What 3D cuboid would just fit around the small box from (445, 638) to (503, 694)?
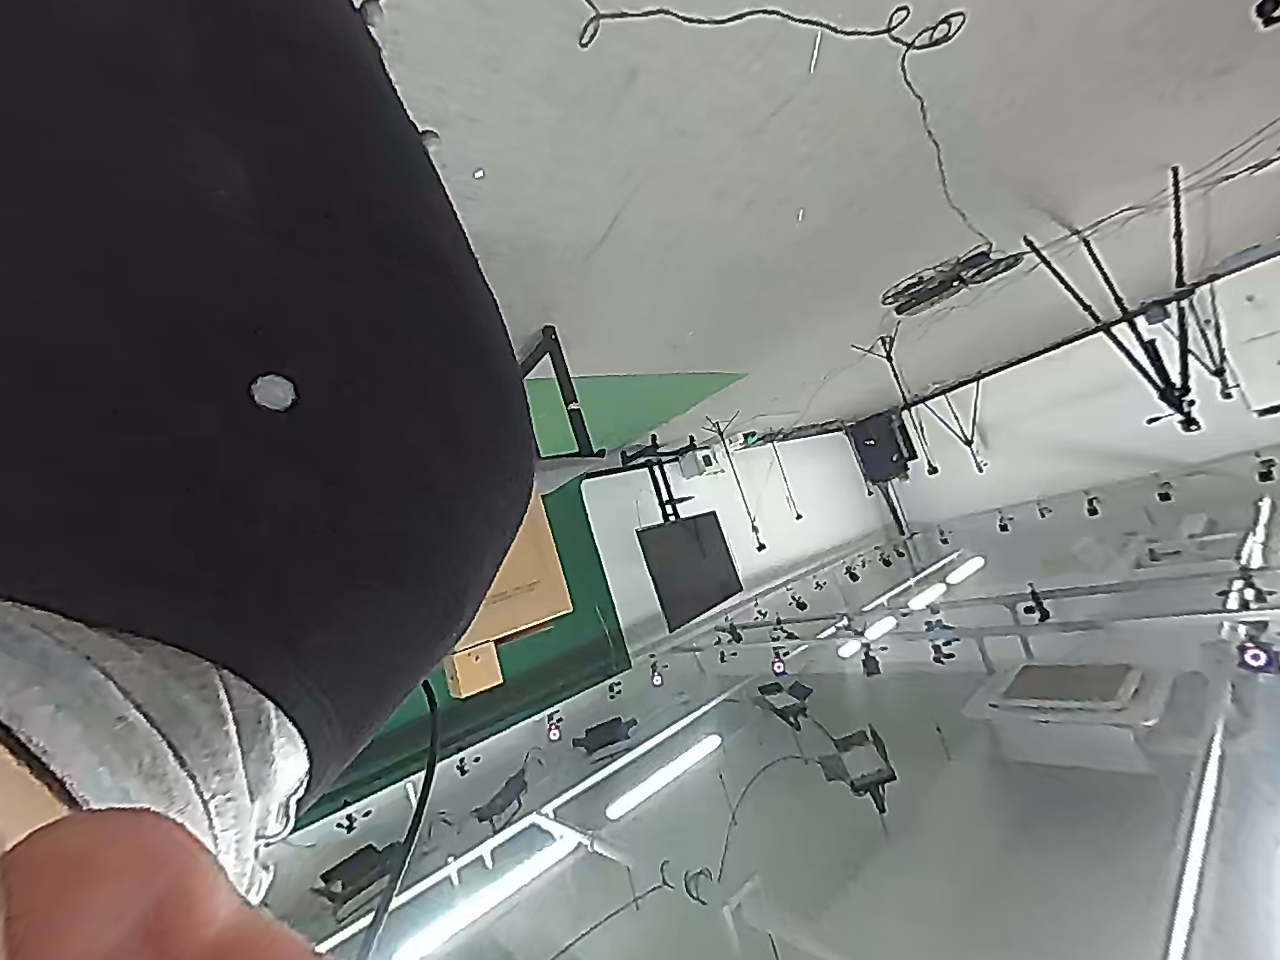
[{"bbox_3d":[-0.670,0.740,2.167,0.168,0.176,0.179,-11,170,-36],"label":"small box"}]
